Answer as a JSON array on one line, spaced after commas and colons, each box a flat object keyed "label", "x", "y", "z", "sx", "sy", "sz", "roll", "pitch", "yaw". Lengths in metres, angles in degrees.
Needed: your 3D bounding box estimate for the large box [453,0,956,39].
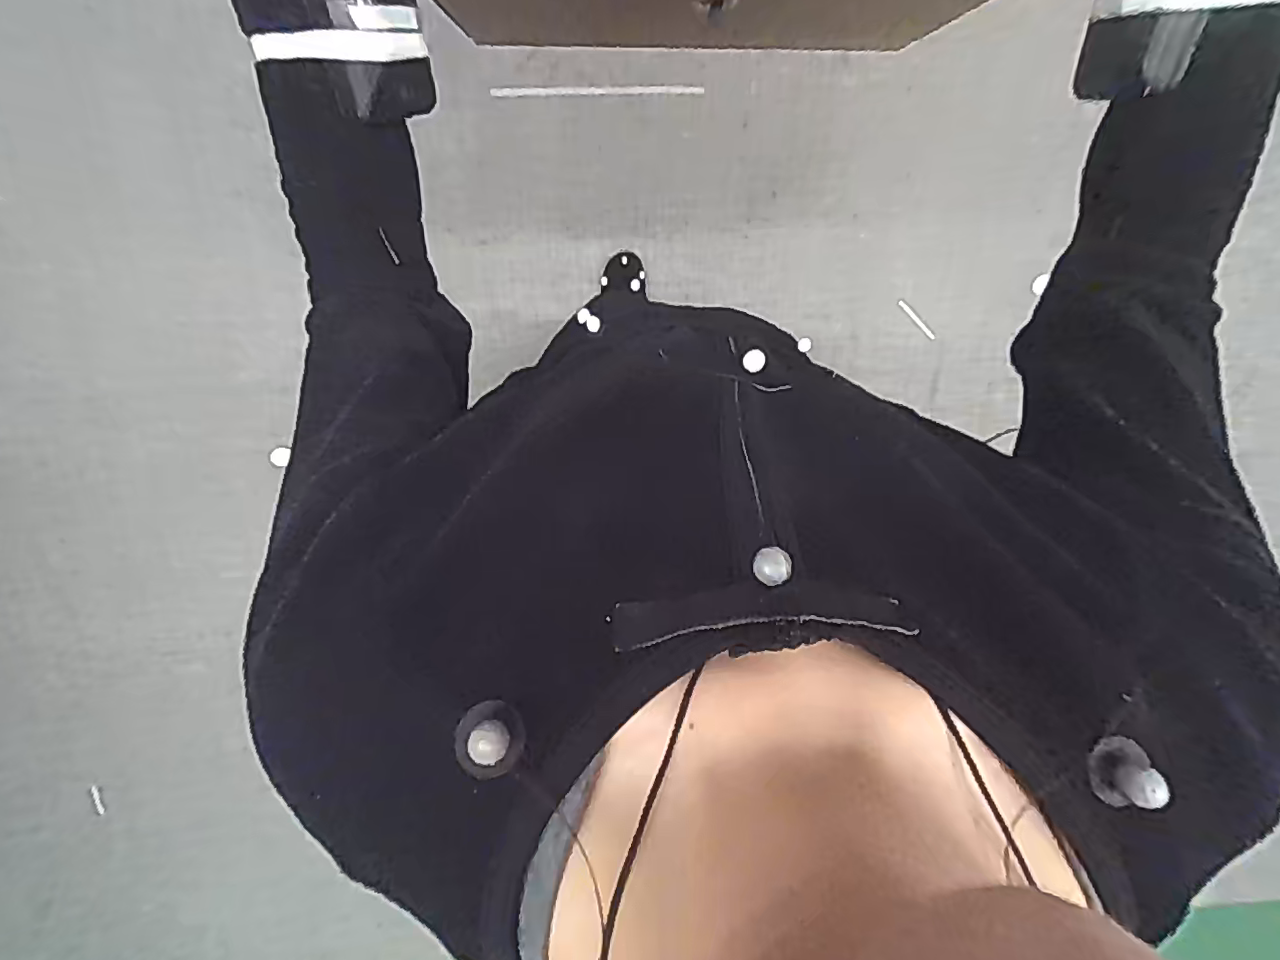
[{"label": "large box", "x": 0.055, "y": -0.483, "z": 0.317, "sx": 0.408, "sy": 0.320, "sz": 0.320, "roll": 0, "pitch": 118, "yaw": -2}]
